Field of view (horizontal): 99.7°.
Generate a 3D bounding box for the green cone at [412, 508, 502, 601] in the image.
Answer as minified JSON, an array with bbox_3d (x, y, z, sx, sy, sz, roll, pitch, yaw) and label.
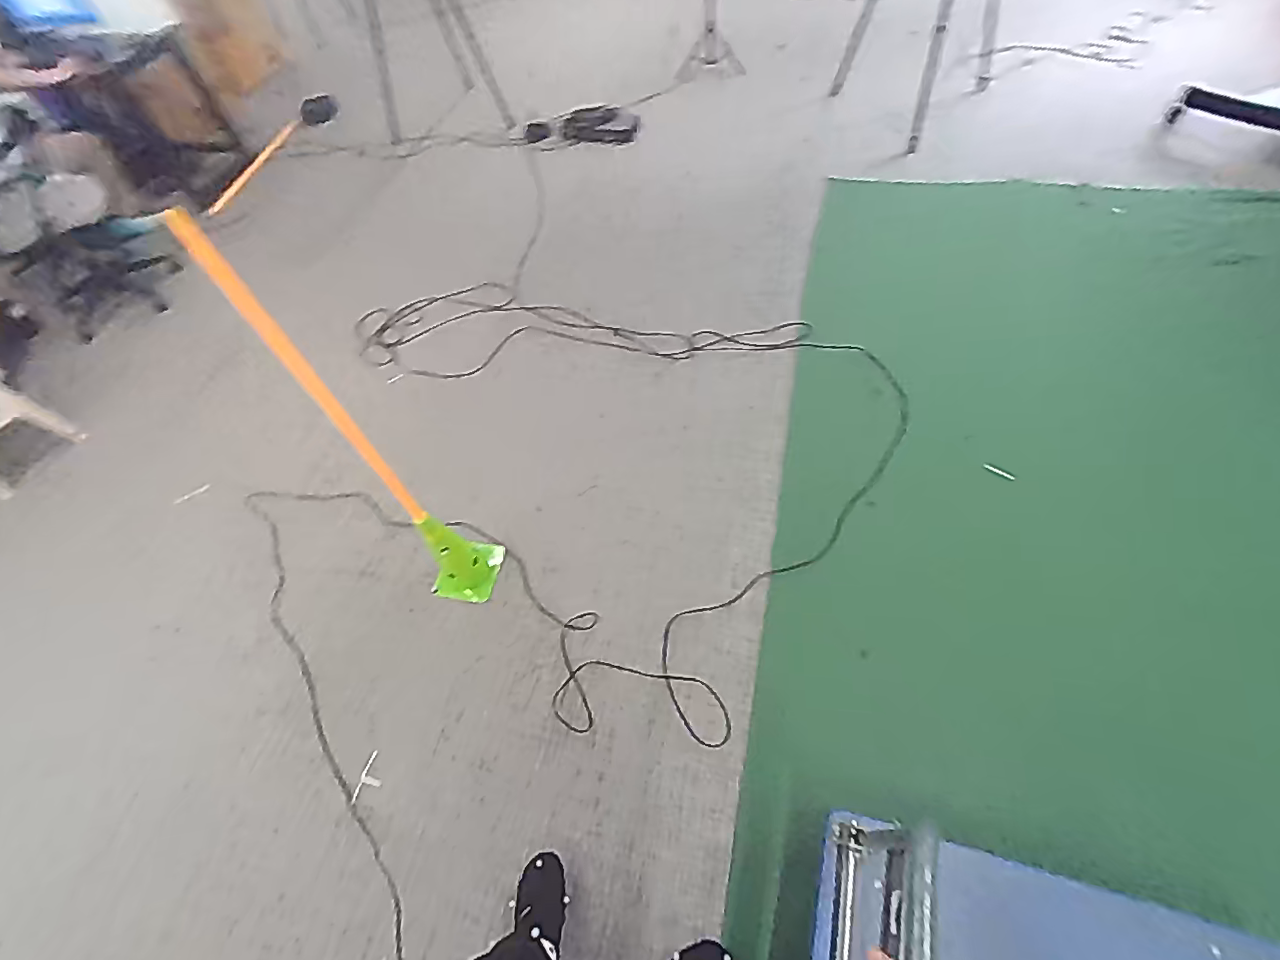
[{"bbox_3d":[-0.591,0.201,1.640,0.200,0.368,0.202,5,56,11],"label":"green cone"}]
